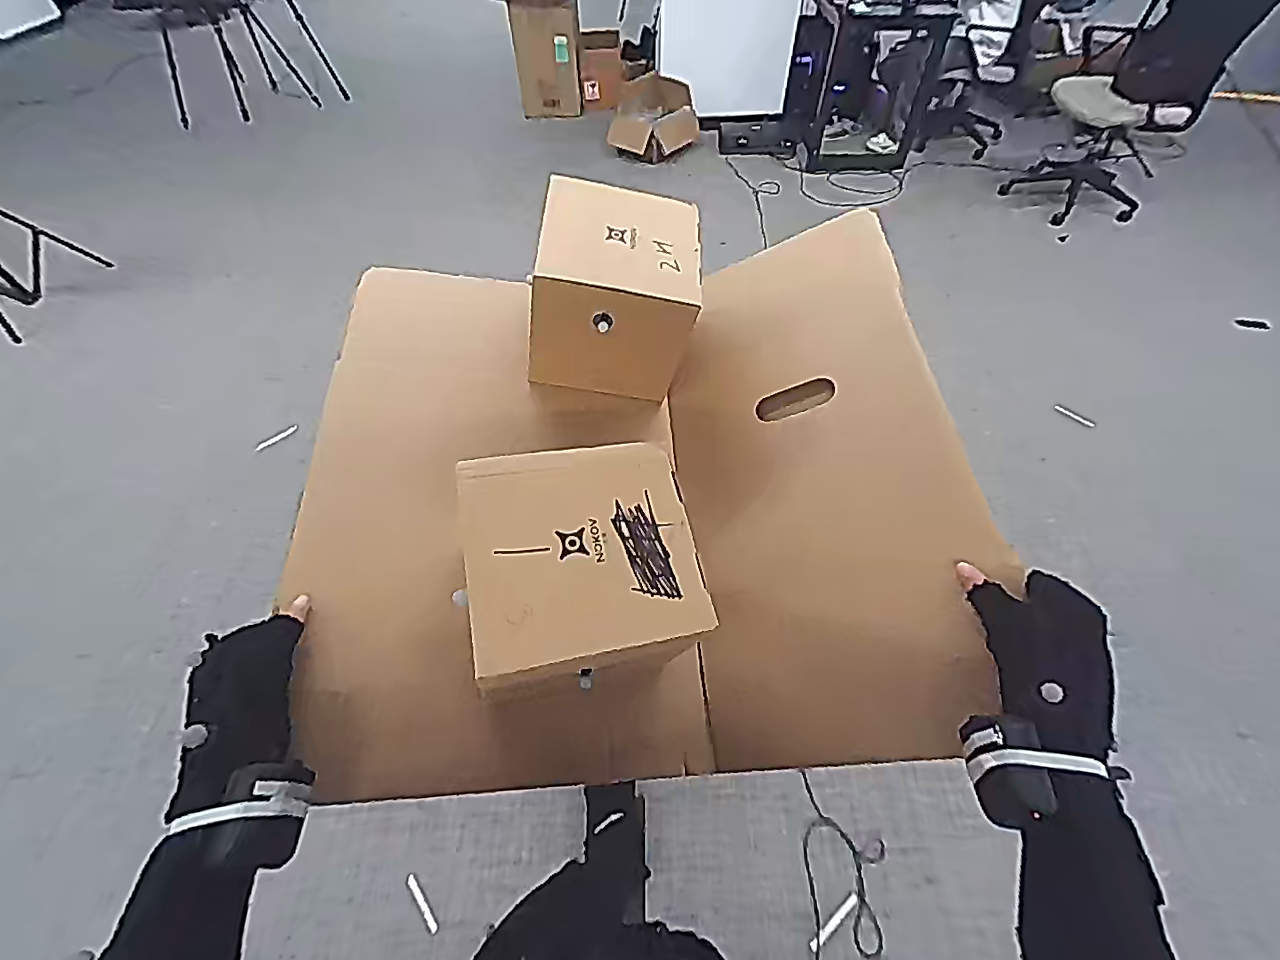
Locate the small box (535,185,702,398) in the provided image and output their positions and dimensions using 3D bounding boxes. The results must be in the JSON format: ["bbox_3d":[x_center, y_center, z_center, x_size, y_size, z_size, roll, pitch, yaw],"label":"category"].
[{"bbox_3d":[-0.031,-0.220,0.665,0.179,0.176,0.168,9,61,-9],"label":"small box"}]

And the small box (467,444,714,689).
[{"bbox_3d":[-0.057,0.083,0.494,0.179,0.176,0.168,-7,64,-16],"label":"small box"}]
